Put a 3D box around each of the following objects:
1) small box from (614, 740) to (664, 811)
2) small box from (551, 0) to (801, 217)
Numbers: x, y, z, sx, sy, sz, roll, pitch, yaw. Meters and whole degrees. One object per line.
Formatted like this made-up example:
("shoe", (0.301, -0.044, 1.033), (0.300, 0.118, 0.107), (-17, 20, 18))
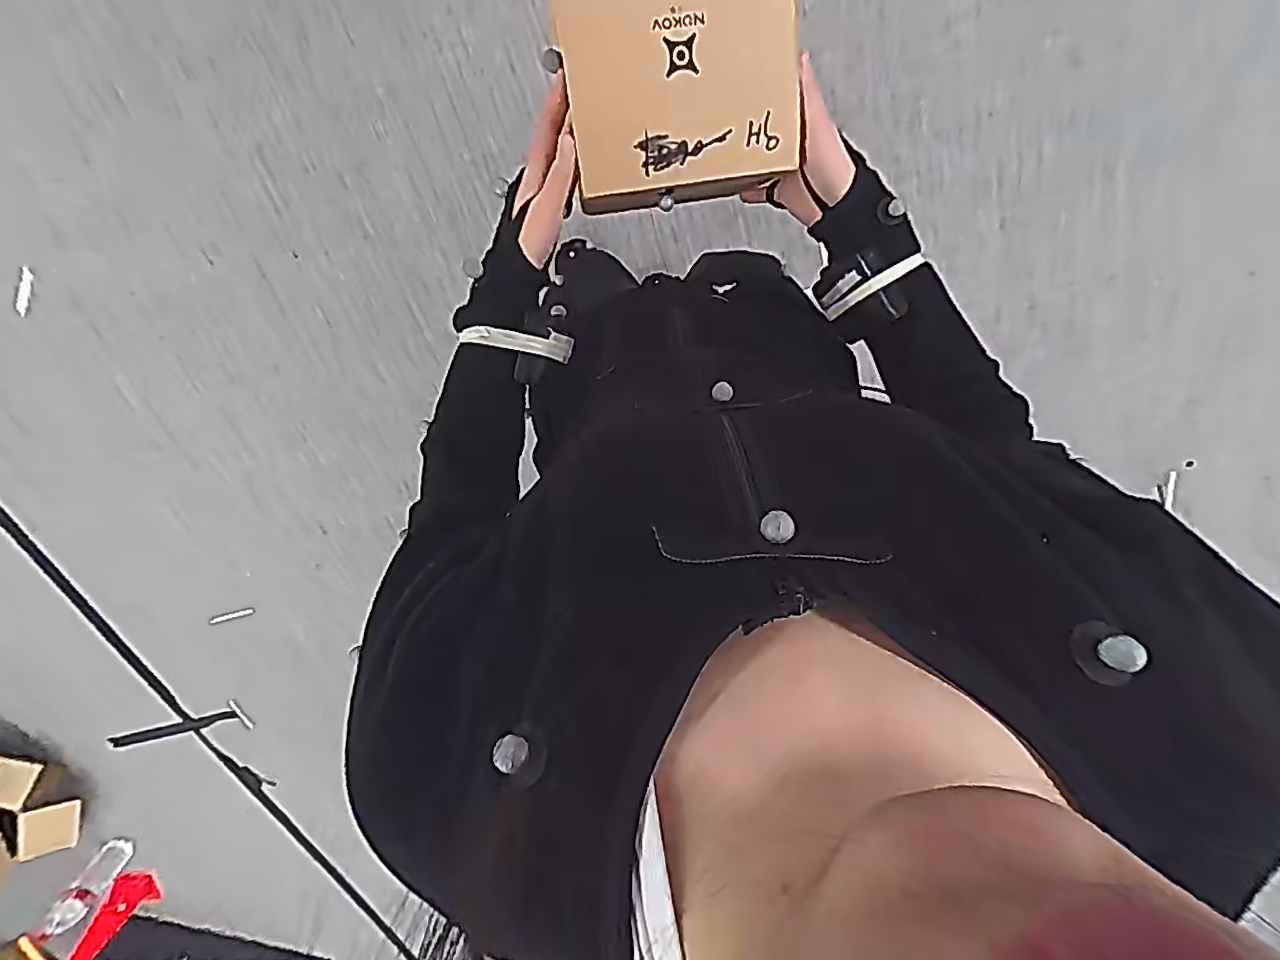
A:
("small box", (-0.005, 1.083, 1.986), (0.179, 0.176, 0.168), (-1, 114, -2))
("small box", (0.020, -0.326, 0.440), (0.168, 0.176, 0.179), (-9, 112, -3))
